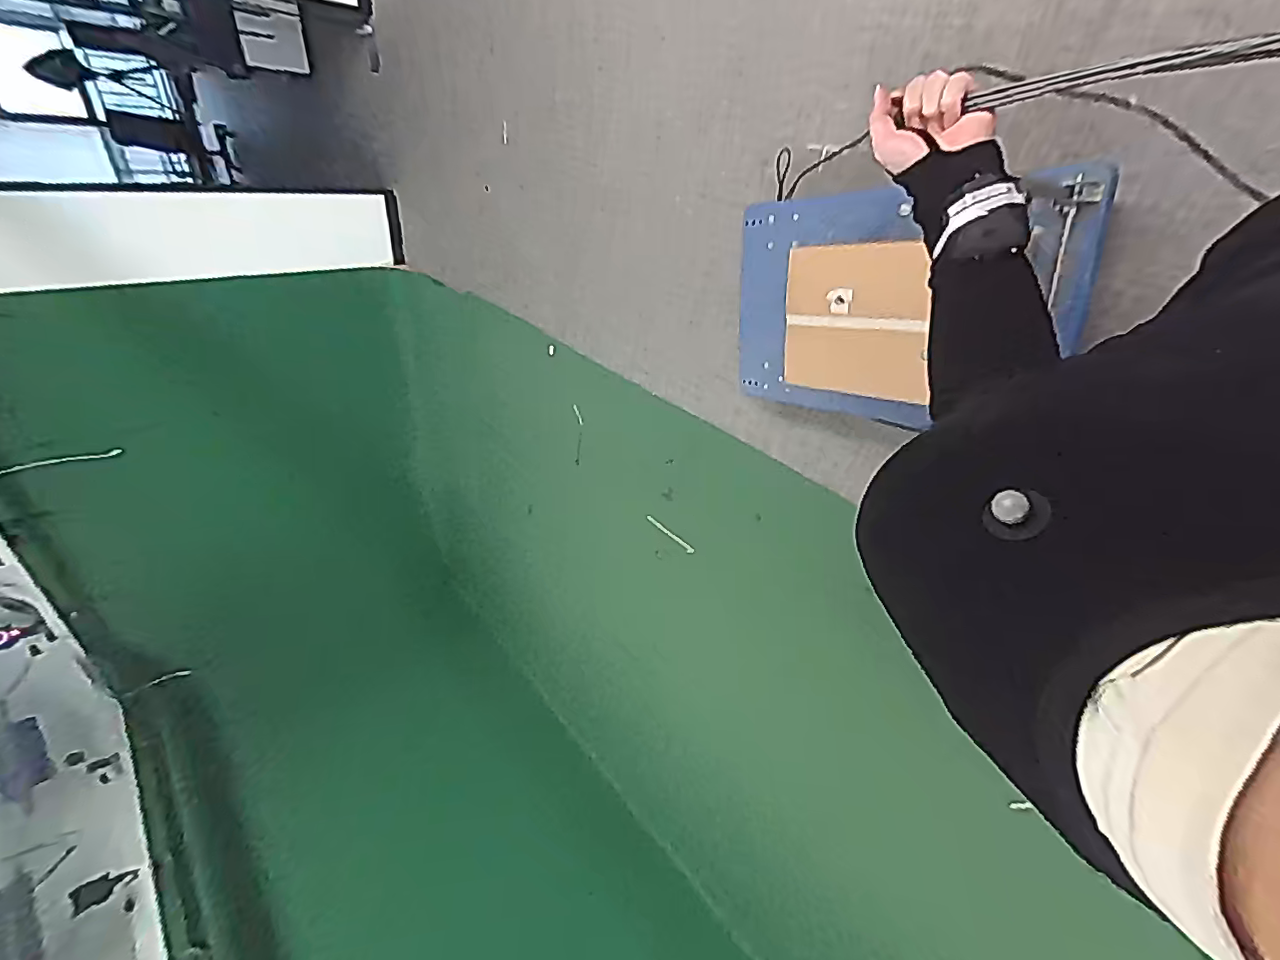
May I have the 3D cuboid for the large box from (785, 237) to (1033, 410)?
[{"bbox_3d":[0.594,-0.368,1.233,0.408,0.320,0.320,21,122,44],"label":"large box"}]
